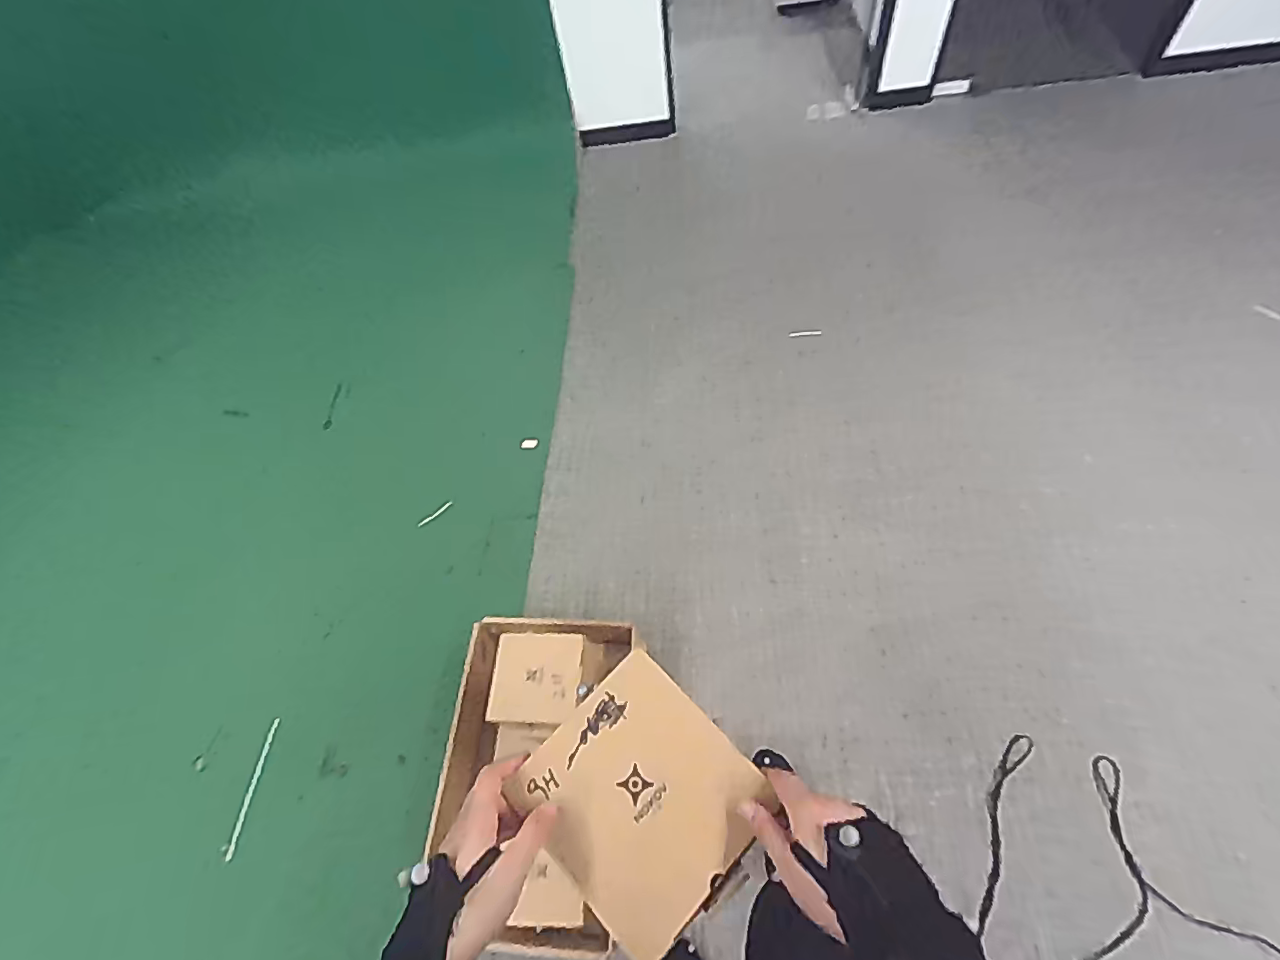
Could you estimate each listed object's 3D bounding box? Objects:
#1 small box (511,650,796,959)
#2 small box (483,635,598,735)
[{"bbox_3d":[0.011,0.288,0.512,0.168,0.176,0.179,-42,72,-16],"label":"small box"},{"bbox_3d":[-0.193,0.423,1.103,0.179,0.176,0.168,0,60,7],"label":"small box"}]
